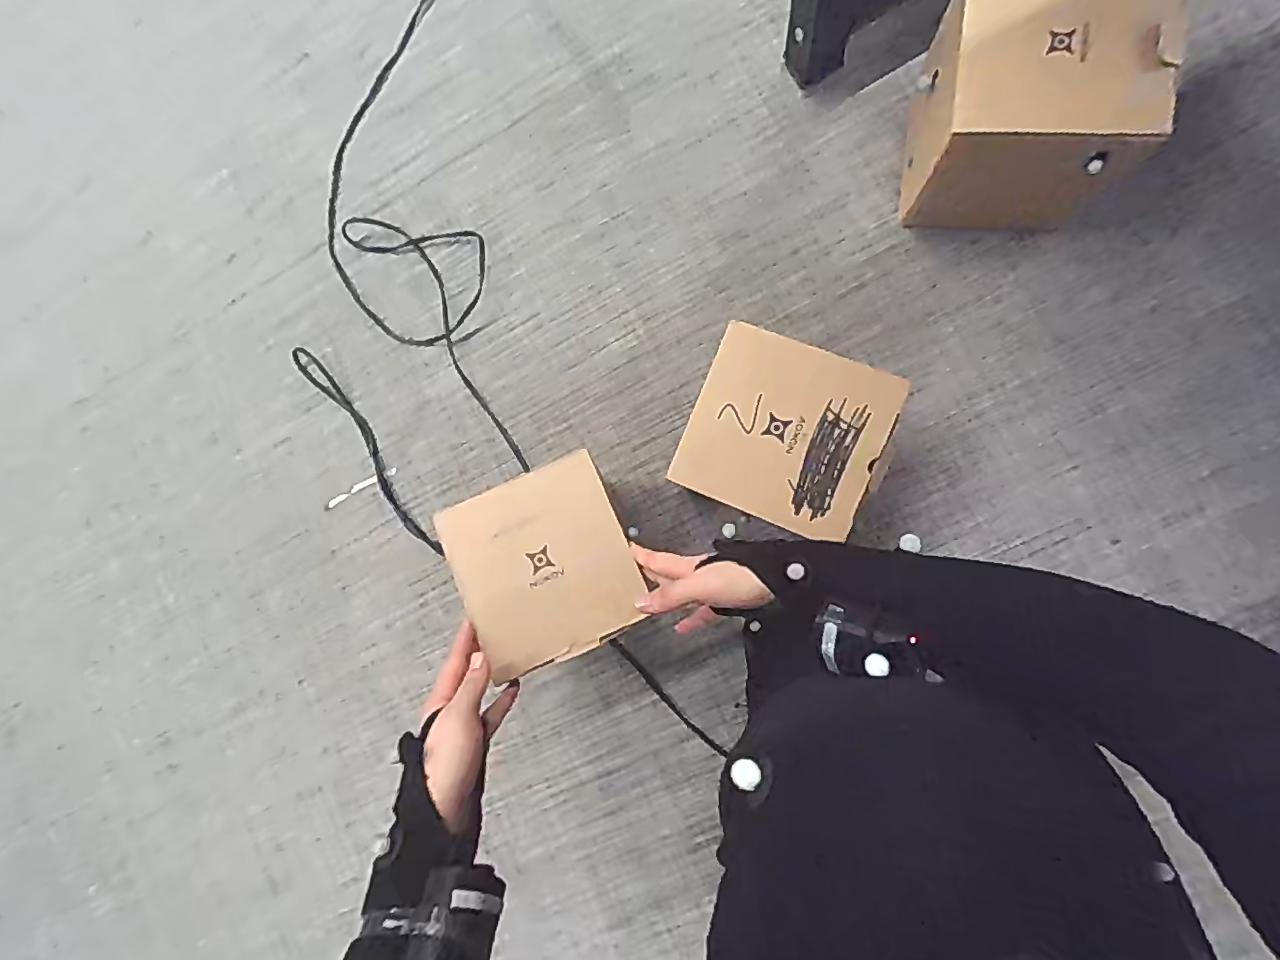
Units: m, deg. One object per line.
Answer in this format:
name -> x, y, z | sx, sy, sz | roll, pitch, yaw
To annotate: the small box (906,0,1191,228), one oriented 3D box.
small box -> 0.388, -0.375, 0.546 | 0.179, 0.176, 0.168 | 6, 88, 10
